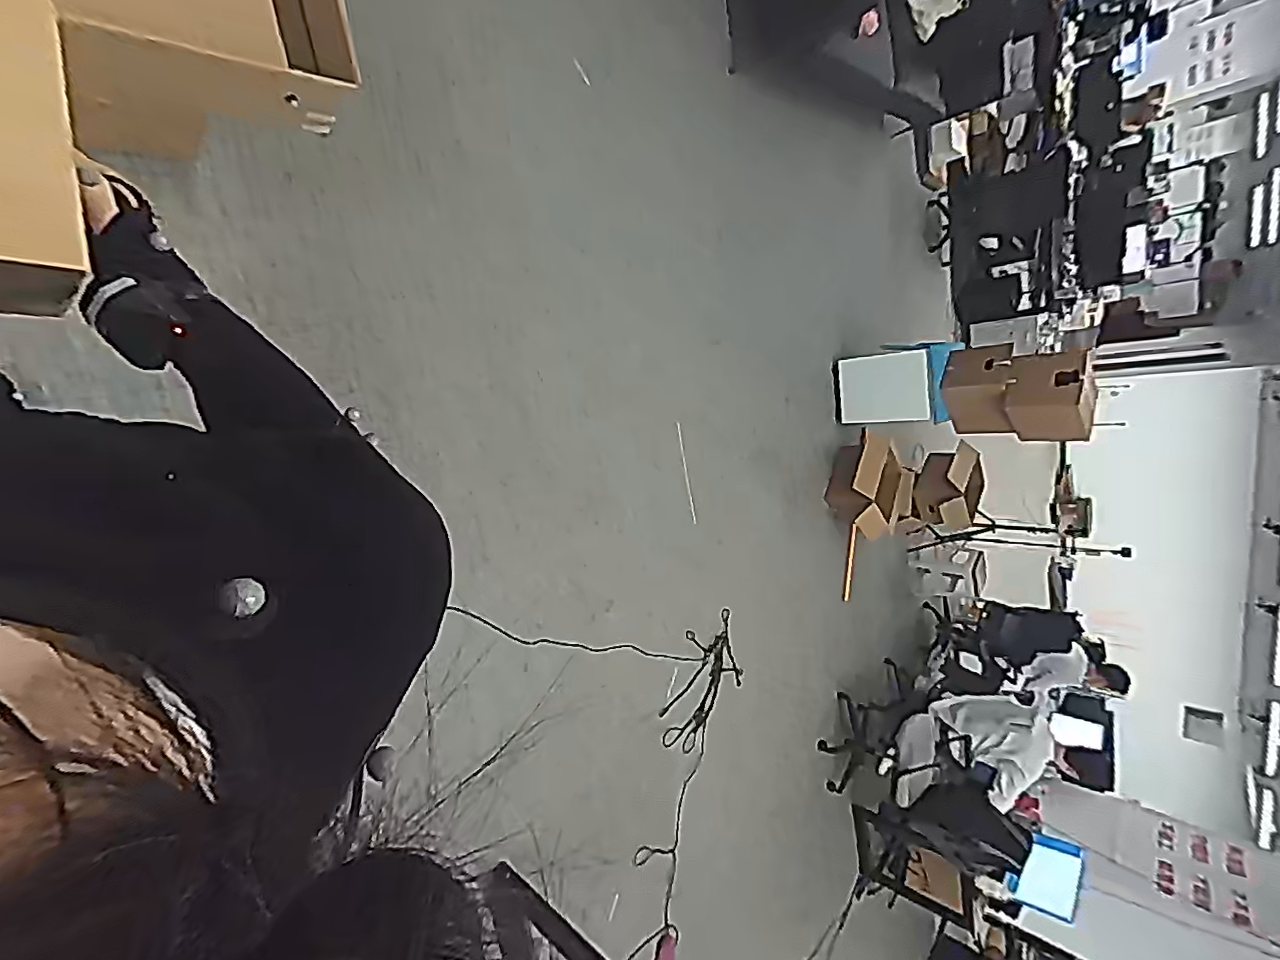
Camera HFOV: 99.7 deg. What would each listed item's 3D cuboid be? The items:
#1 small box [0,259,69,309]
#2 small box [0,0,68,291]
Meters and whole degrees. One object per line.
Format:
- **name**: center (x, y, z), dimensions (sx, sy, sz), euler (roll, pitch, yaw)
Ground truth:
- **small box**: center (-0.616, -0.244, 0.447), dimensions (0.179, 0.176, 0.168), euler (-11, 102, -50)
- **small box**: center (-0.491, -0.228, 0.340), dimensions (0.168, 0.176, 0.179), euler (-8, 100, -50)
